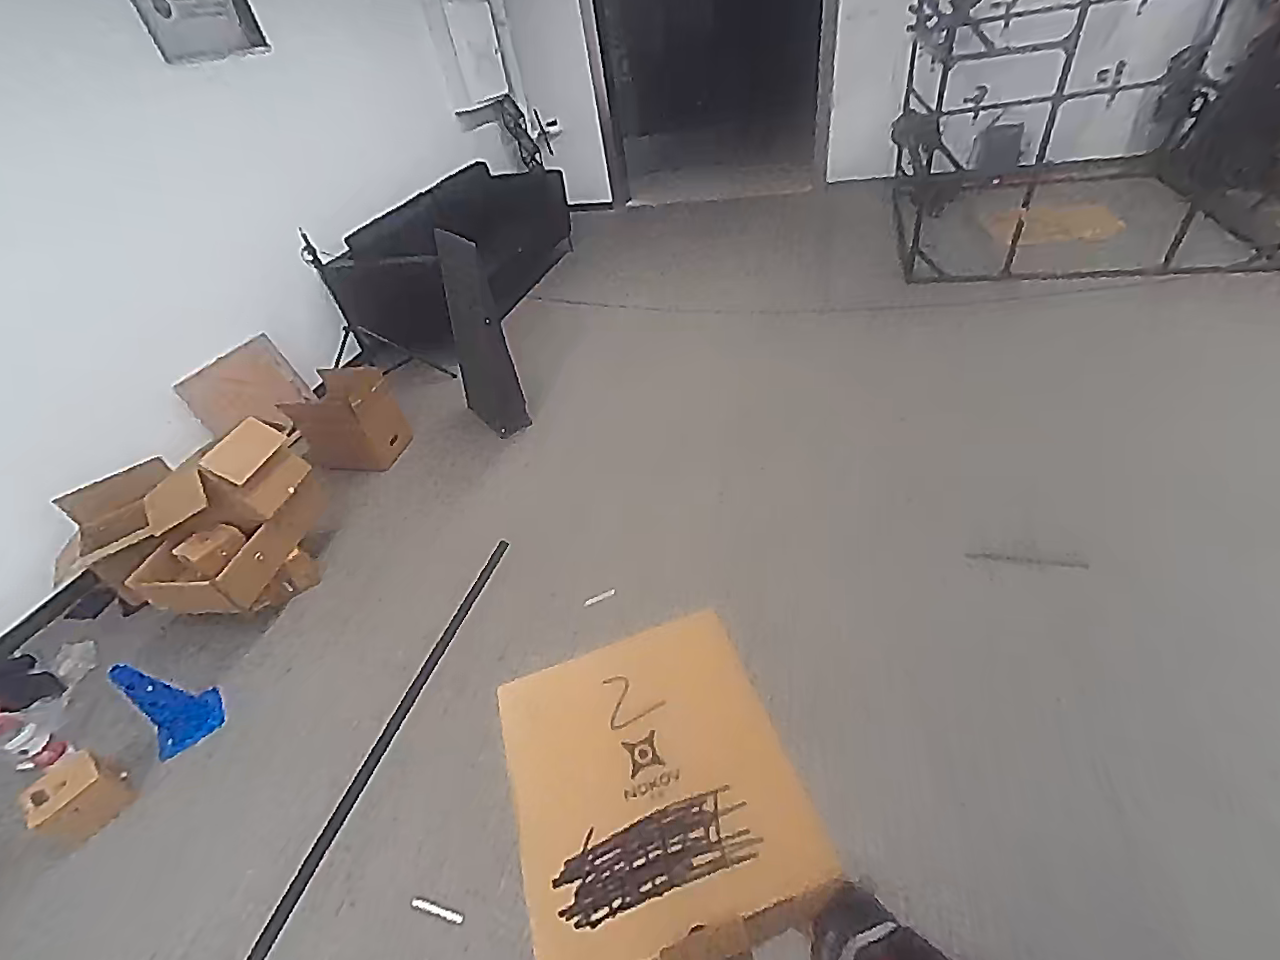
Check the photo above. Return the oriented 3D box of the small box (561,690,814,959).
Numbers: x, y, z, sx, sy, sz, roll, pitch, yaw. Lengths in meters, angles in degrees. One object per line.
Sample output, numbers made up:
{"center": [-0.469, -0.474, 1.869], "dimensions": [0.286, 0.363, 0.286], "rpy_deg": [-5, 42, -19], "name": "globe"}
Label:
{"center": [0.038, 0.337, 0.508], "dimensions": [0.168, 0.176, 0.179], "rpy_deg": [-19, 46, -8], "name": "small box"}
